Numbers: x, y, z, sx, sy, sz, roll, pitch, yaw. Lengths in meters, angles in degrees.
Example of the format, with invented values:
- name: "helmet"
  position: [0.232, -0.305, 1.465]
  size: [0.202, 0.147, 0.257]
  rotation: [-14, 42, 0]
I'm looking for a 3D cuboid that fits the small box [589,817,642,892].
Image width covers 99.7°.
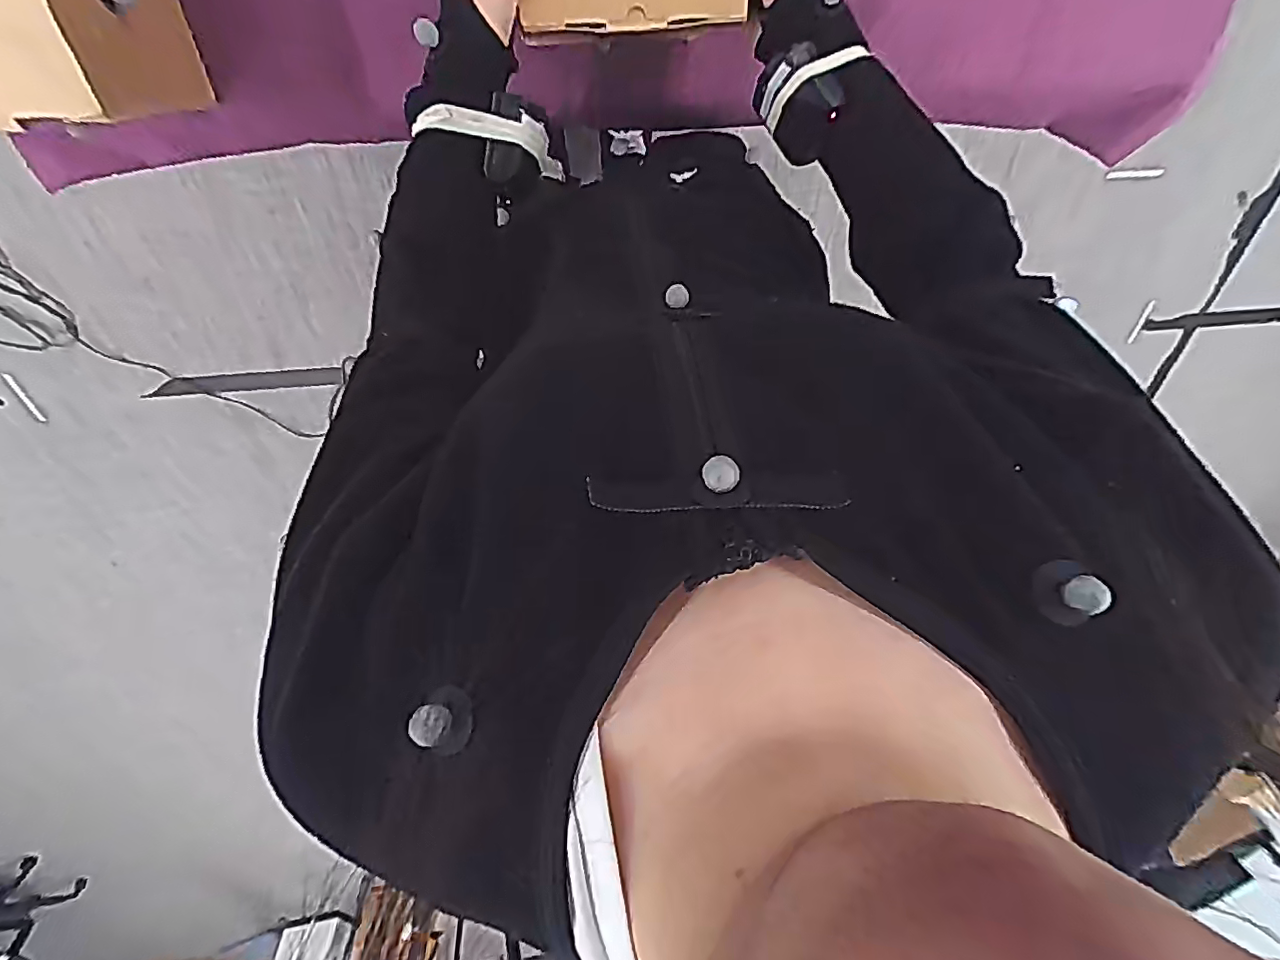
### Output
- name: "small box"
  position: [-0.092, 1.328, 1.920]
  size: [0.179, 0.176, 0.168]
  rotation: [-3, 128, -7]

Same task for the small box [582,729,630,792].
- name: "small box"
  position: [-0.137, 1.125, 2.175]
  size: [0.179, 0.176, 0.168]
  rotation: [-6, 127, -4]

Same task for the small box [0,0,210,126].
- name: "small box"
  position: [-0.463, -0.366, 0.385]
  size: [0.168, 0.176, 0.179]
  rotation: [-5, 129, -6]
